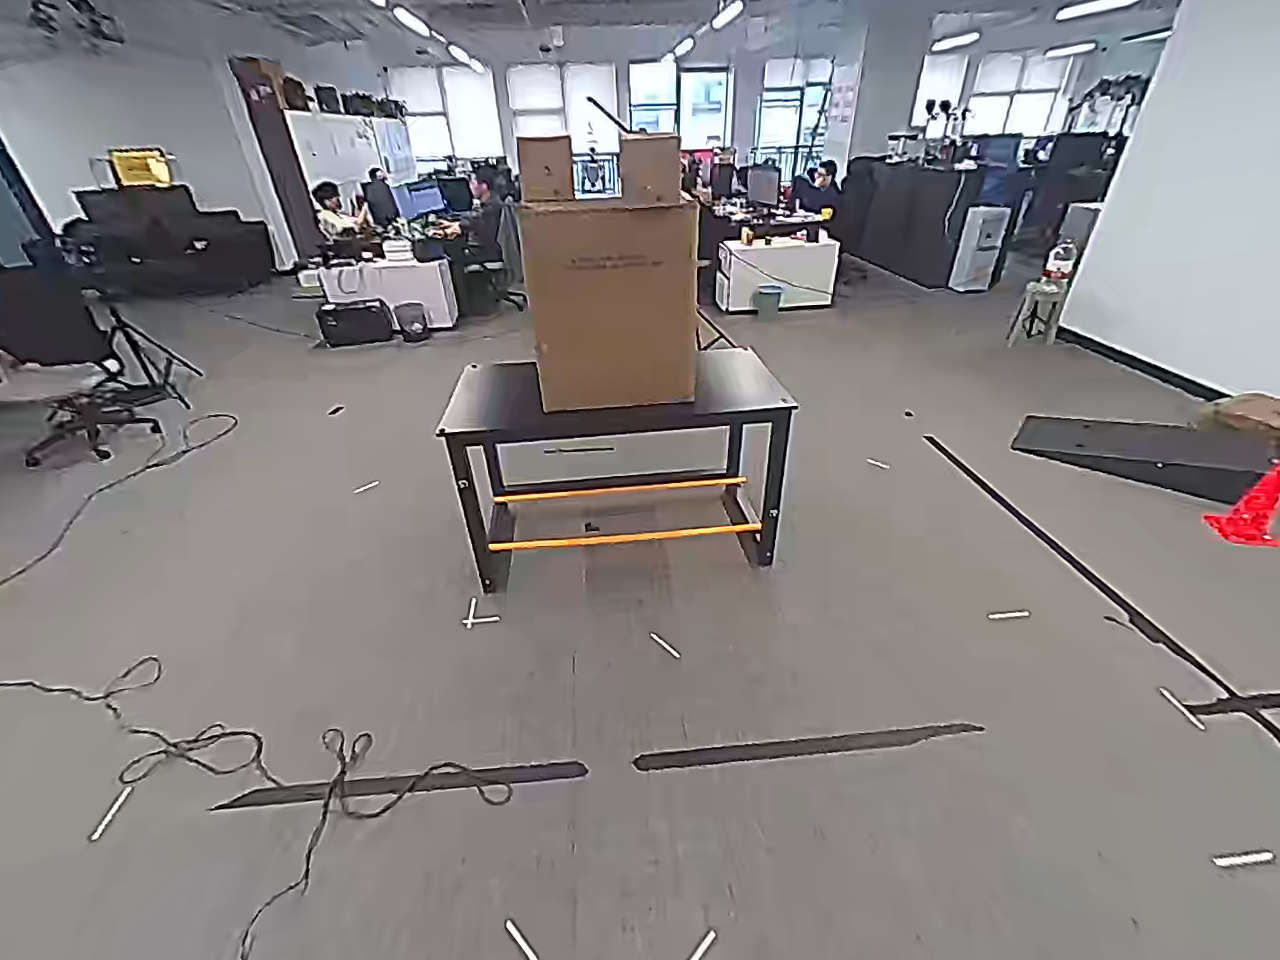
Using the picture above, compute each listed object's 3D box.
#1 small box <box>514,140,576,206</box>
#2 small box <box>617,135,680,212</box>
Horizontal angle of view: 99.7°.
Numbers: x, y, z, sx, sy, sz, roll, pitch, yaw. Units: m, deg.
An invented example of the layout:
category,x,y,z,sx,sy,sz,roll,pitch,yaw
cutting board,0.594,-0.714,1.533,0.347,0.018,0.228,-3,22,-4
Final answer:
category,x,y,z,sx,sy,sz,roll,pitch,yaw
small box,-0.293,-0.954,1.683,0.168,0.176,0.179,-7,33,-7
small box,0.027,-0.864,1.525,0.168,0.176,0.179,-4,36,2
